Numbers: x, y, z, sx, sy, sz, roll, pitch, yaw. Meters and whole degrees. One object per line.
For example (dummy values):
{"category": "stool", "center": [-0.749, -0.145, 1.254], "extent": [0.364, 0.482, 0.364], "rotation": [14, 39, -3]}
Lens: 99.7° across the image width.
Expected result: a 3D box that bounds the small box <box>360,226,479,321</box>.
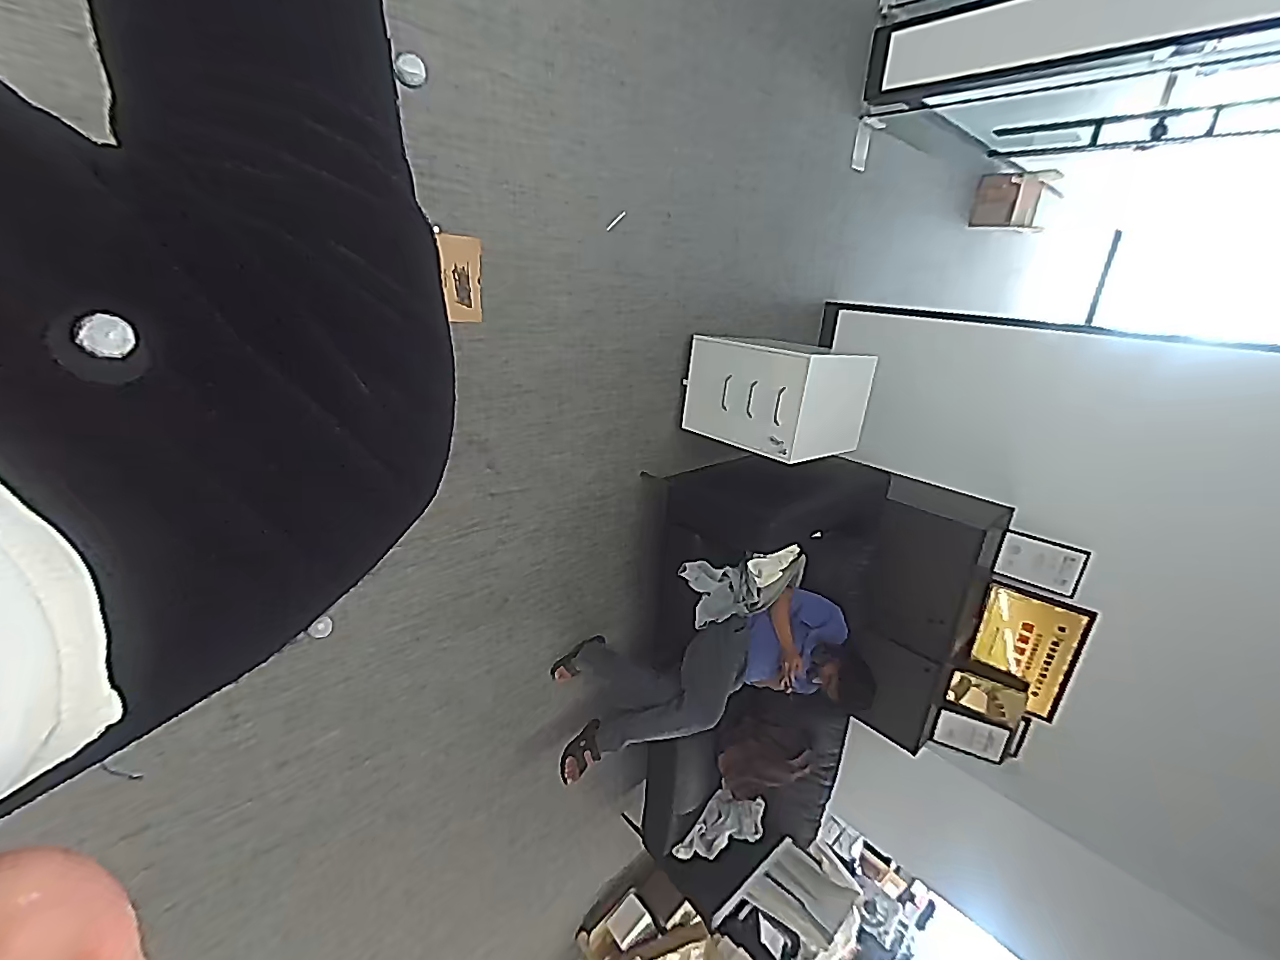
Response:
{"category": "small box", "center": [-0.451, -0.422, 1.110], "extent": [0.179, 0.176, 0.168], "rotation": [-13, 116, -41]}
